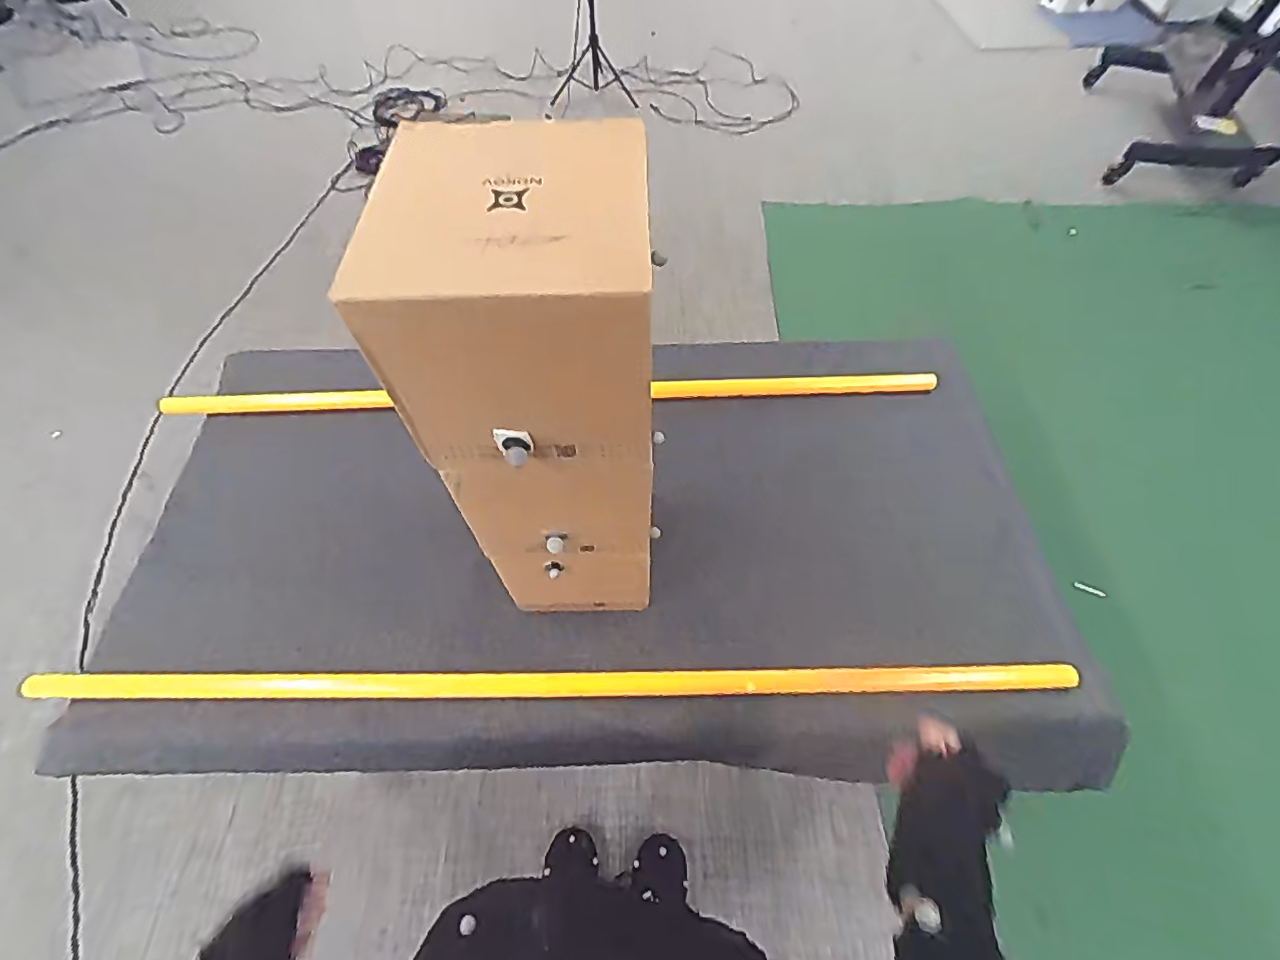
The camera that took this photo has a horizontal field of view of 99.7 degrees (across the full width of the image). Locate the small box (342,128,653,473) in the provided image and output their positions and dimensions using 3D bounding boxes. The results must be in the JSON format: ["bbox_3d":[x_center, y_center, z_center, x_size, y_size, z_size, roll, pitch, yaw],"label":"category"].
[{"bbox_3d":[-0.076,-0.123,0.394,0.168,0.176,0.179,-2,59,0],"label":"small box"}]

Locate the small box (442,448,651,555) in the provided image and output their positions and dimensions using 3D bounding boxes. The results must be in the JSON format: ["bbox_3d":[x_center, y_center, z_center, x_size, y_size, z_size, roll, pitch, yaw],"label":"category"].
[{"bbox_3d":[-0.075,-0.039,0.532,0.168,0.176,0.179,-1,59,-1],"label":"small box"}]

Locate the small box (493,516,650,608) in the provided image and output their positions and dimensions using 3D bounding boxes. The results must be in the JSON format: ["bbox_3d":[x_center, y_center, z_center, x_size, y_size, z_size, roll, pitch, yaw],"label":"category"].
[{"bbox_3d":[-0.072,0.047,0.672,0.168,0.176,0.179,-1,58,0],"label":"small box"}]
